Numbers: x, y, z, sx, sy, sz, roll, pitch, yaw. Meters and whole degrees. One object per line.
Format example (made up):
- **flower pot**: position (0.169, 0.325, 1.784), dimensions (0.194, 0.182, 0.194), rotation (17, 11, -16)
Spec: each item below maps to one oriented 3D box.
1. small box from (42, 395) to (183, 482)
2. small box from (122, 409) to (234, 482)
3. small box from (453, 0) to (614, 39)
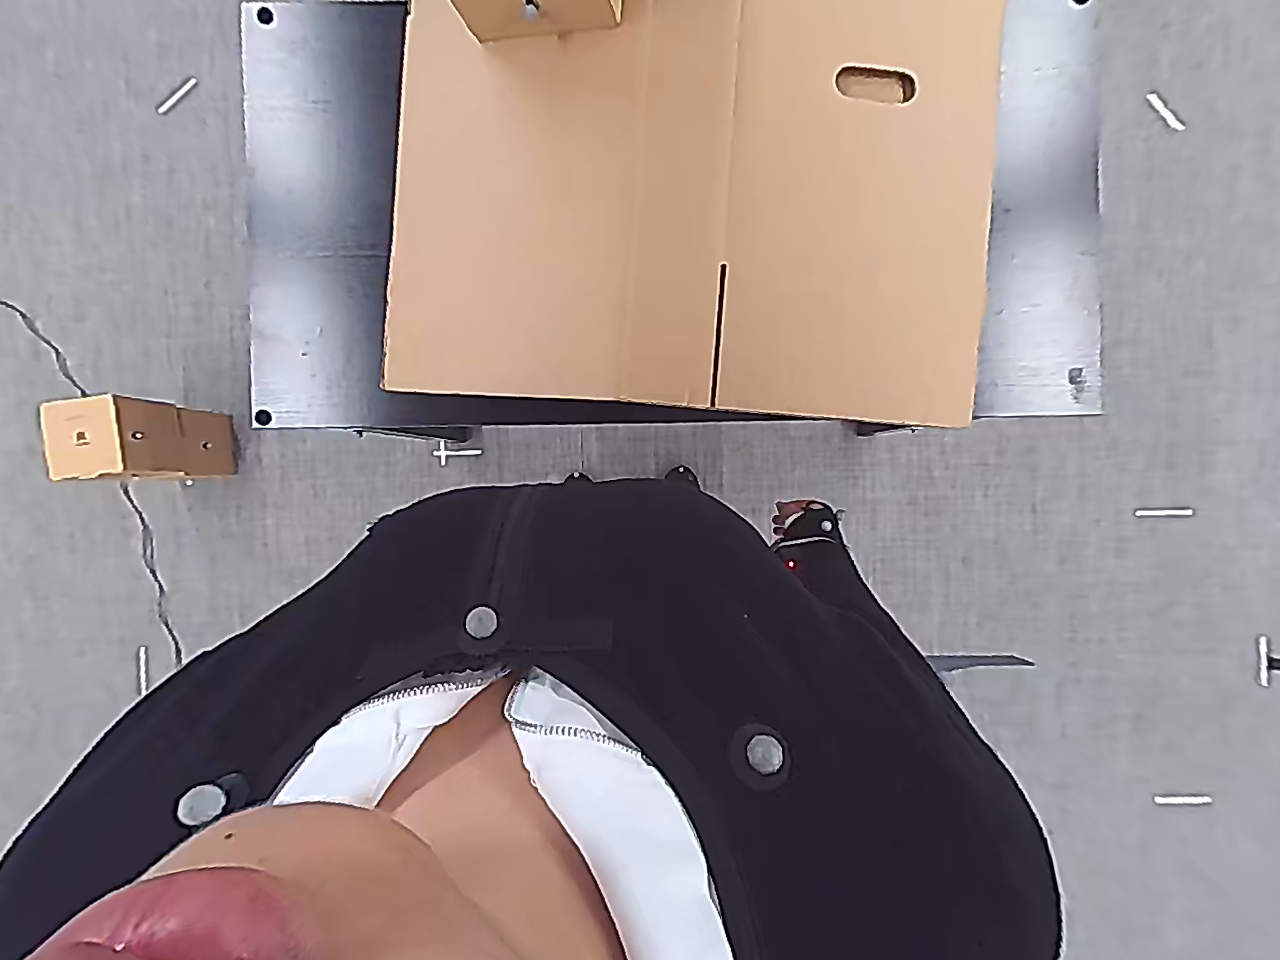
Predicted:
- **small box**: position (-1.223, -0.093, 1.268), dimensions (0.168, 0.176, 0.179), rotation (-8, 90, 0)
- **small box**: position (-1.221, -0.087, 1.431), dimensions (0.168, 0.176, 0.179), rotation (-5, 91, 1)
- **small box**: position (-0.116, -0.582, 0.531), dimensions (0.179, 0.176, 0.168), rotation (5, 90, 13)
